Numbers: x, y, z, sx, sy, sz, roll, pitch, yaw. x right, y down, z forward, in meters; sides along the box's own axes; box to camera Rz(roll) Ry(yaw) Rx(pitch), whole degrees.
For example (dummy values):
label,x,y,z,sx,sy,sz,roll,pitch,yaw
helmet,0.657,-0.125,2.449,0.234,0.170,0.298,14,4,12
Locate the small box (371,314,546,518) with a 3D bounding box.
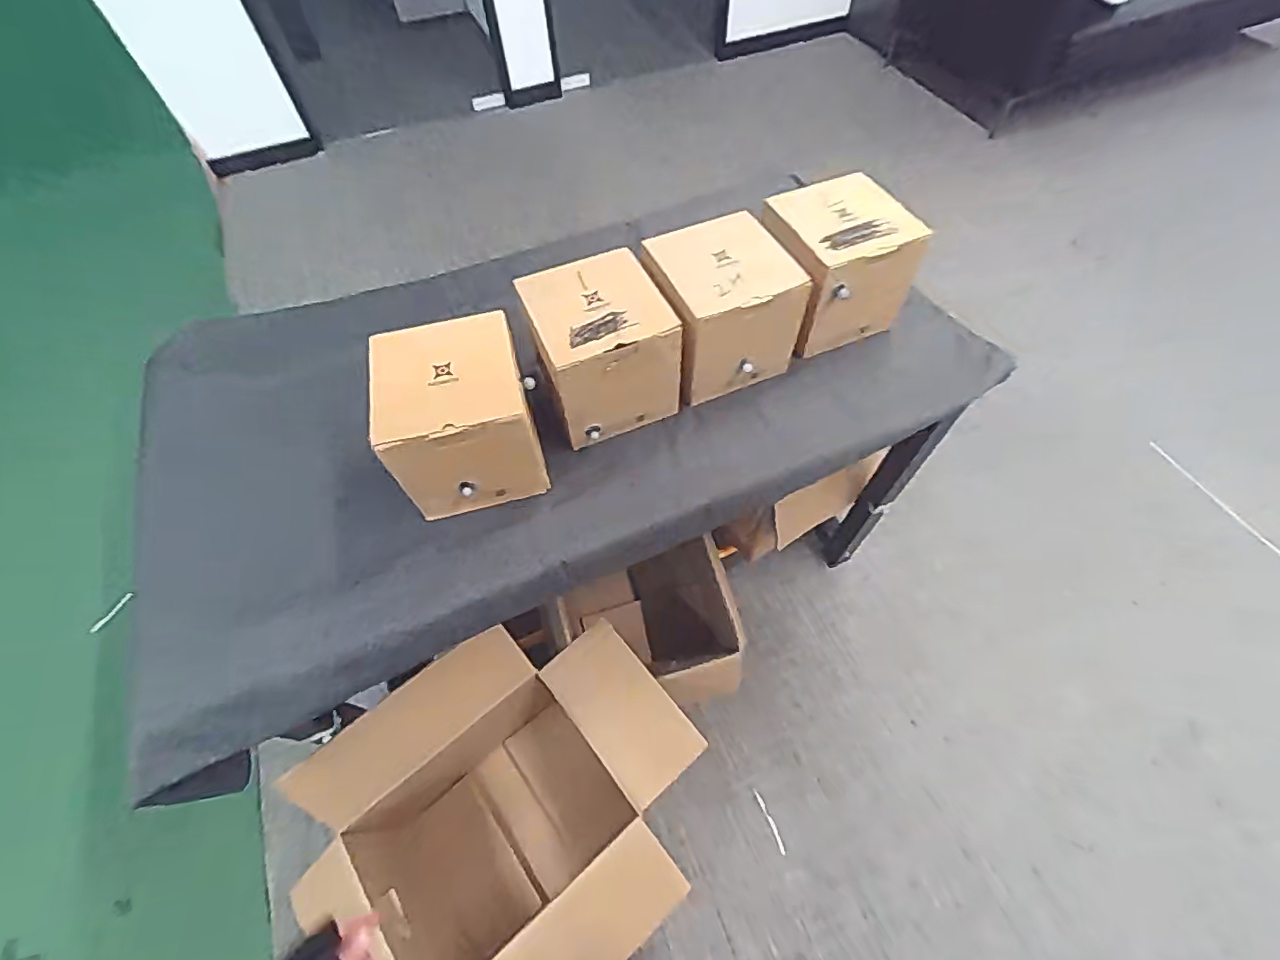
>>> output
label,x,y,z,sx,sy,sz,roll,pitch,yaw
small box,-0.225,-0.078,0.693,0.168,0.176,0.179,-14,59,-7
